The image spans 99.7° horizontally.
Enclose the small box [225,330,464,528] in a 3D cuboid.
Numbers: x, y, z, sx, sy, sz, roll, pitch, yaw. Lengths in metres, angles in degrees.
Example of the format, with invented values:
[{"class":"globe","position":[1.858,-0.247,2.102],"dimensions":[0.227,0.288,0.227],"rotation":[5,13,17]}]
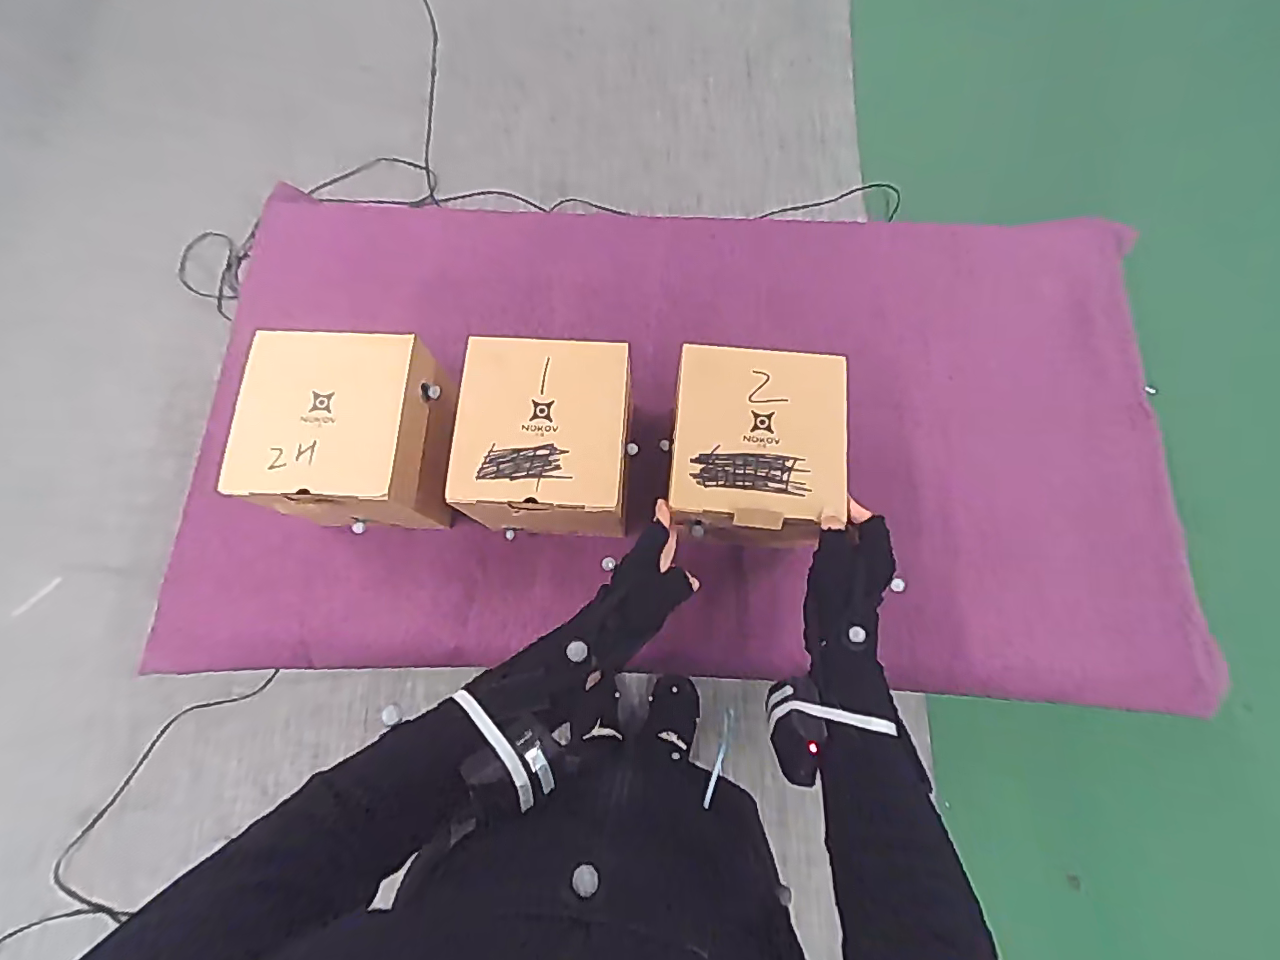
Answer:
[{"class":"small box","position":[-0.312,-0.049,0.615],"dimensions":[0.168,0.176,0.179],"rotation":[2,75,2]}]
